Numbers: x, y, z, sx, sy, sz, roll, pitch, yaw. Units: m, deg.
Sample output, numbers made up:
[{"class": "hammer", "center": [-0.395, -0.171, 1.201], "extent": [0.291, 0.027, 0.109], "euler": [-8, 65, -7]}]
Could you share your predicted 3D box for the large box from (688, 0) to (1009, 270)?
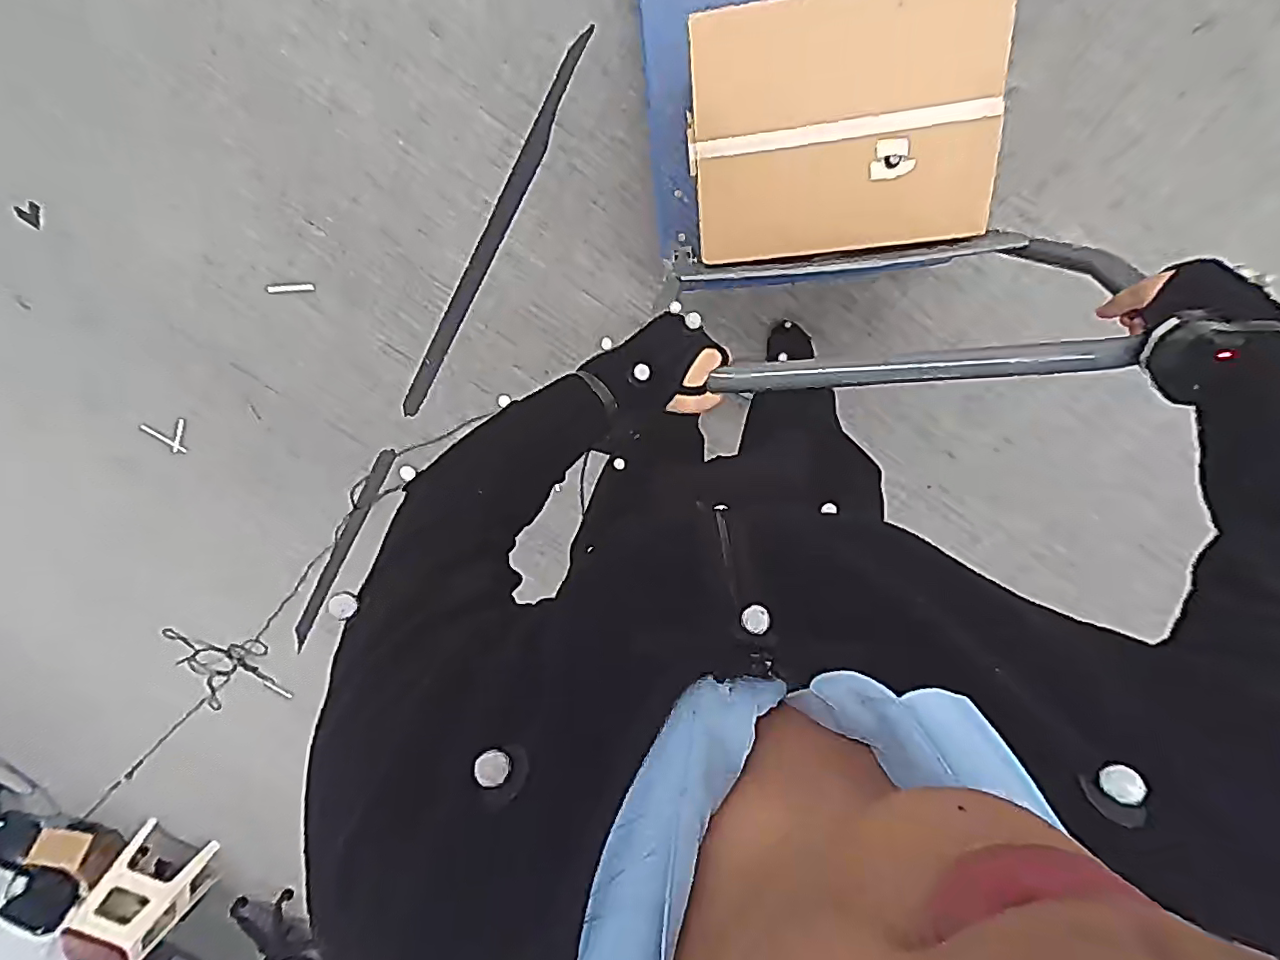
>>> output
[{"class": "large box", "center": [0.296, -0.542, 0.887], "extent": [0.408, 0.320, 0.320], "euler": [-3, 115, 9]}]
